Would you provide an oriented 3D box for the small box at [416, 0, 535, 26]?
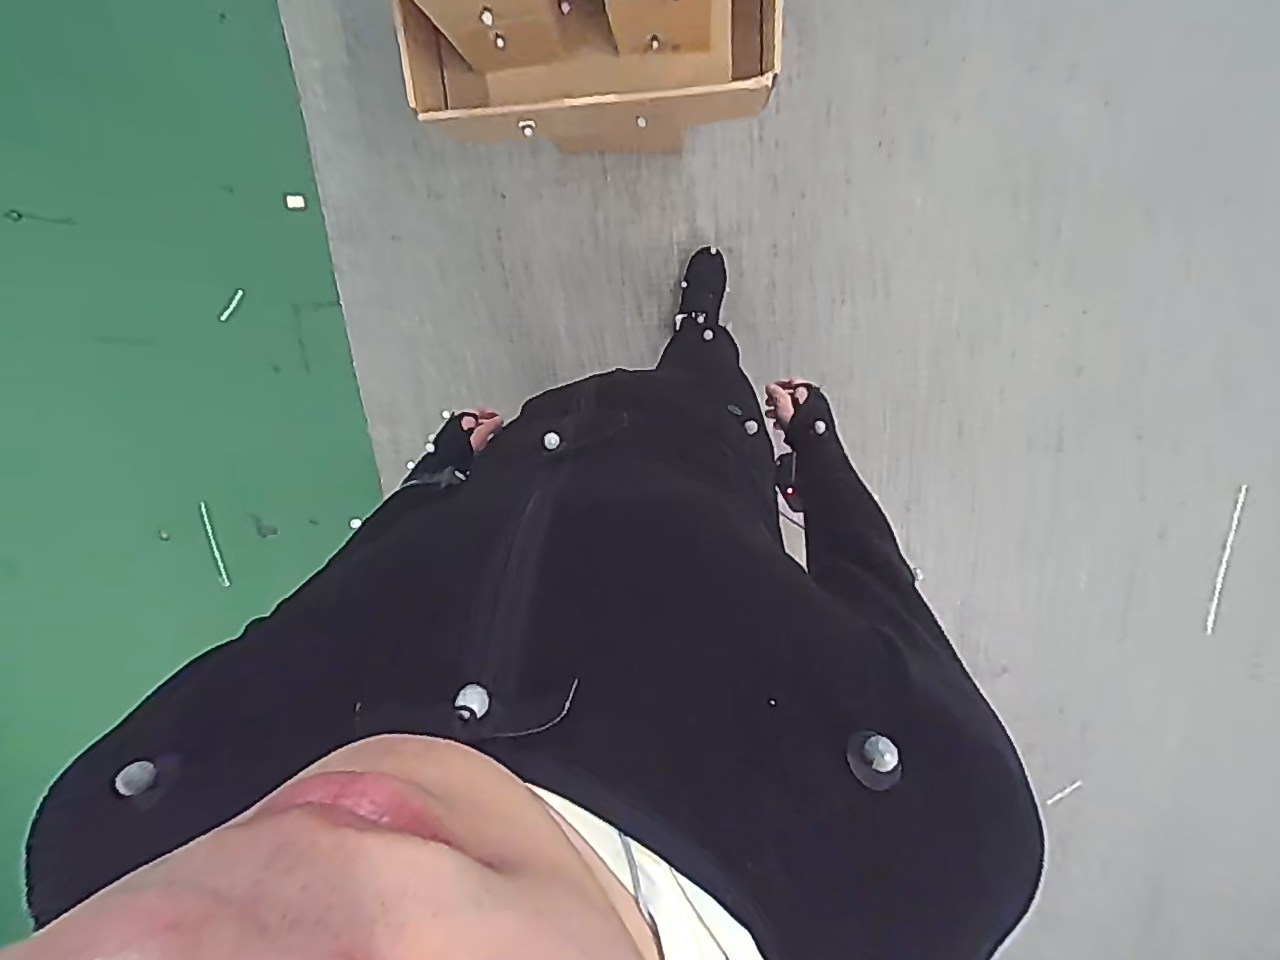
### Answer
[{"bbox_3d":[-0.242,-0.762,0.733,0.179,0.176,0.168,-5,107,5],"label":"small box"}]

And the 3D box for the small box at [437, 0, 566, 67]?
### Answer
[{"bbox_3d":[-0.230,-0.812,0.889,0.179,0.176,0.168,-3,107,4],"label":"small box"}]
